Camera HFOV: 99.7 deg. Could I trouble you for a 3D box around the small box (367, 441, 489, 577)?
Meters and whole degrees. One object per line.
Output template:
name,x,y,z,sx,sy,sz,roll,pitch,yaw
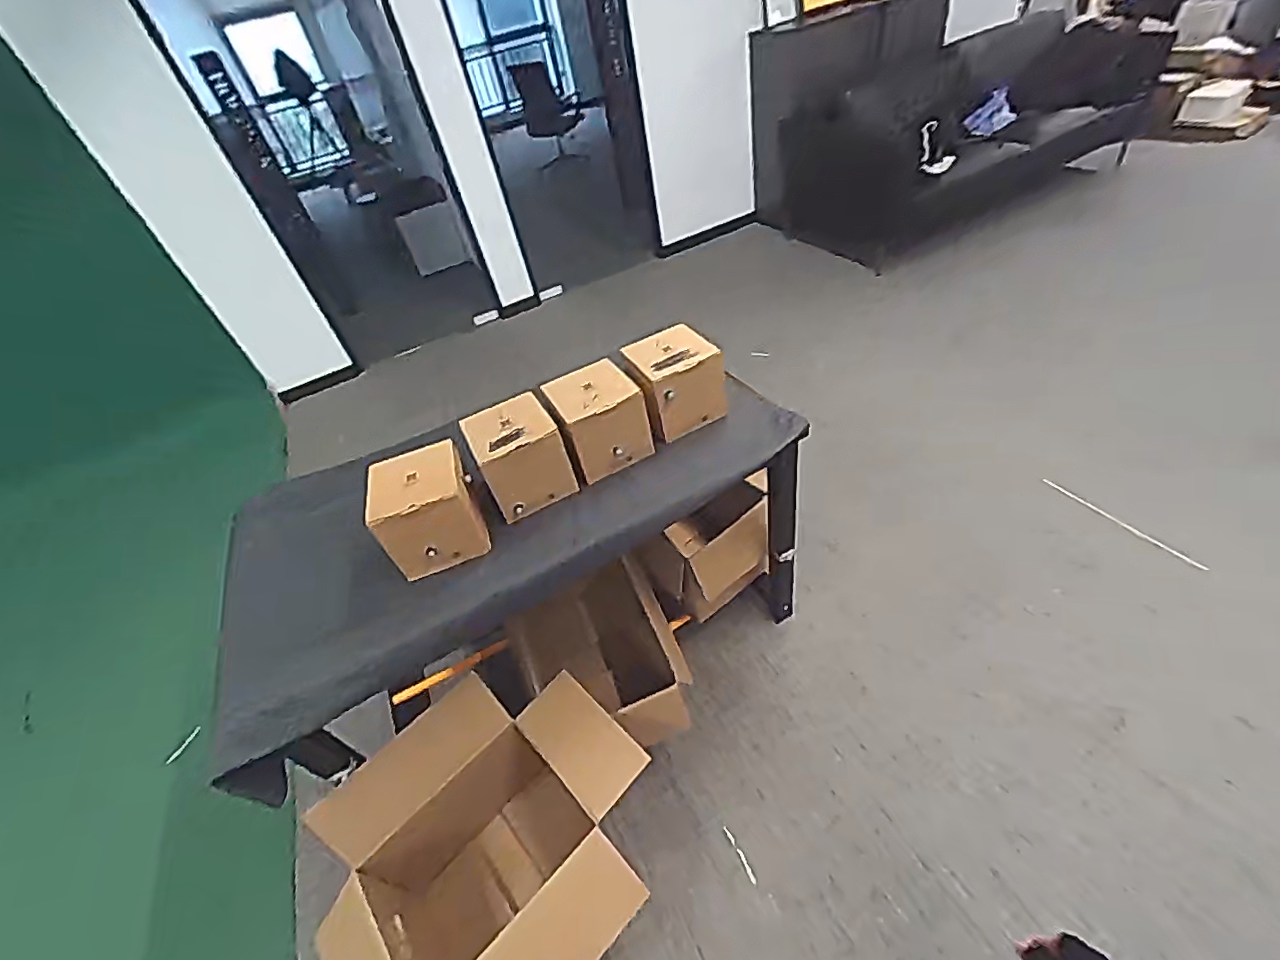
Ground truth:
small box,-0.409,0.057,1.059,0.168,0.176,0.179,-20,43,-8
